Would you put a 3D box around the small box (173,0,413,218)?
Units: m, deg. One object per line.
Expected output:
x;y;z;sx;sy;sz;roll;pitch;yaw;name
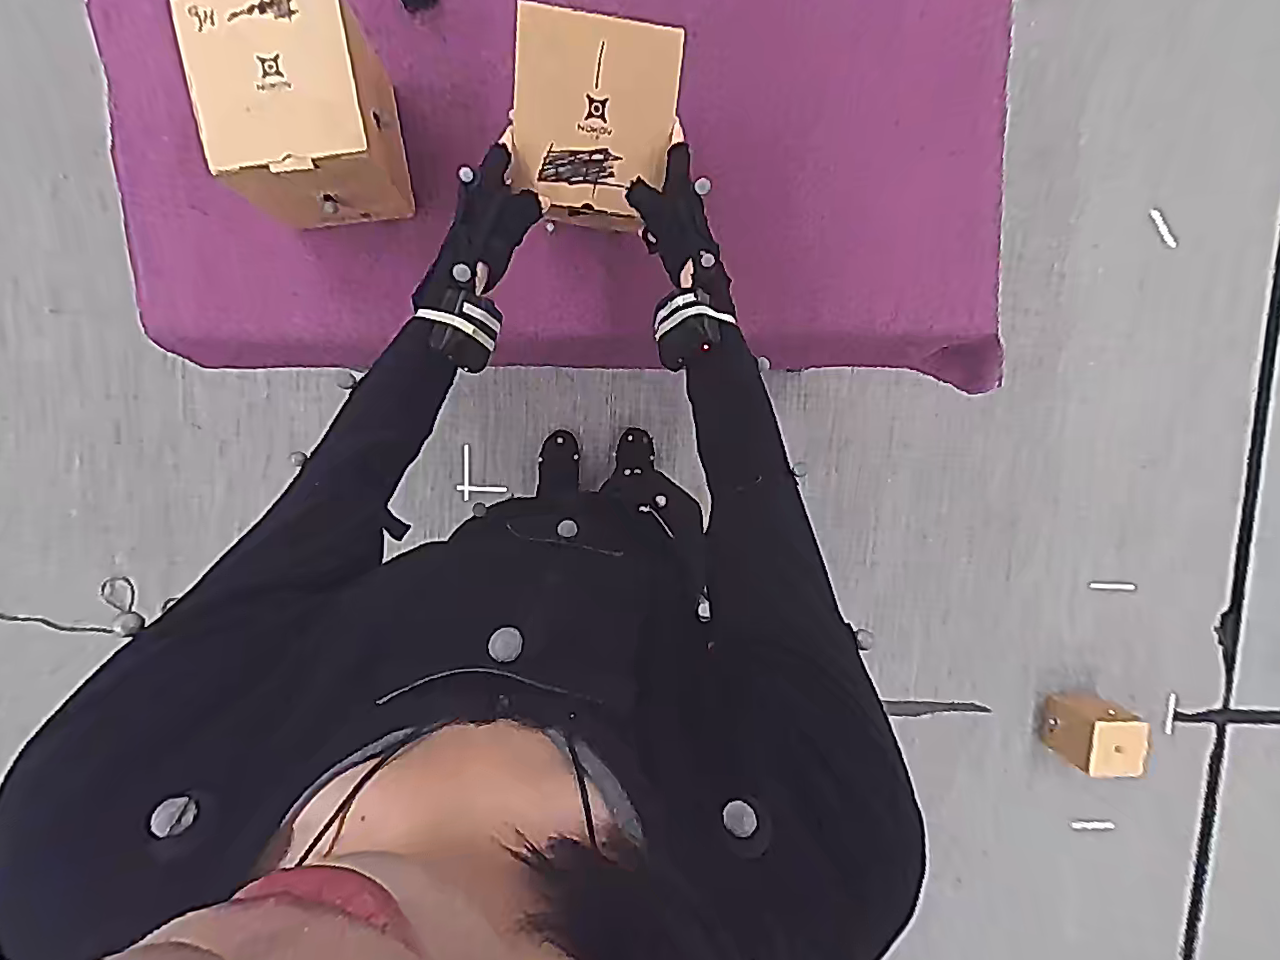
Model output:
-0.385;-0.427;0.636;0.168;0.176;0.179;-9;96;-5;small box

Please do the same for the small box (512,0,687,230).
-0.049;-0.400;0.627;0.168;0.176;0.179;5;108;-7;small box

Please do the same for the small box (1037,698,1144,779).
1.365;0.782;1.646;0.179;0.176;0.168;3;93;-5;small box
